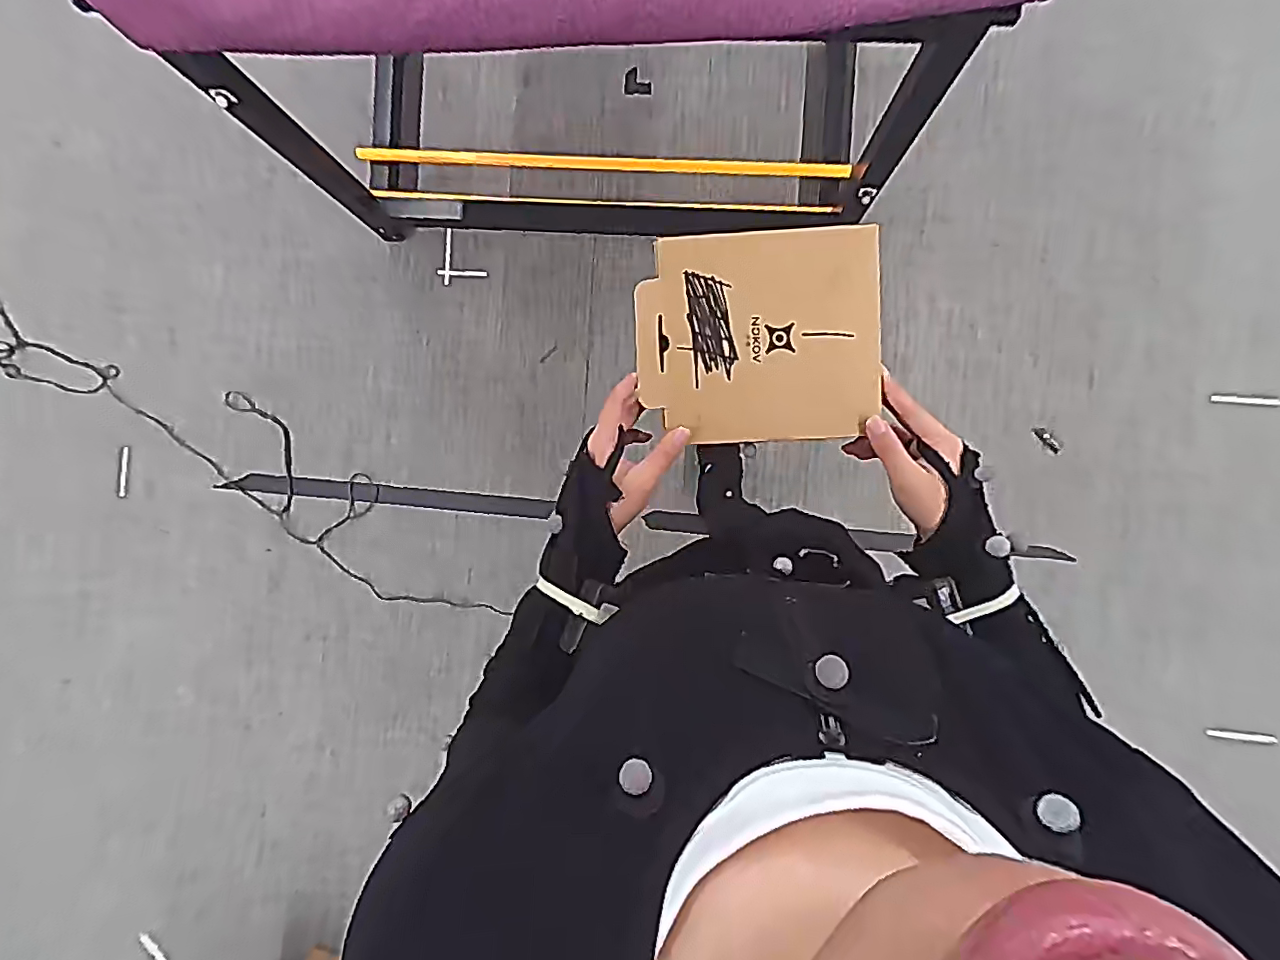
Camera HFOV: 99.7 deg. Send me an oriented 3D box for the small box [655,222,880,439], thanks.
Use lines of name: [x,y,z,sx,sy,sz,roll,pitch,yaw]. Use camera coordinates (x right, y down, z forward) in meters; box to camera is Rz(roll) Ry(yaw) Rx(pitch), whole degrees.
small box: [0.107,-0.123,0.510,0.179,0.176,0.168,-2,95,3]
